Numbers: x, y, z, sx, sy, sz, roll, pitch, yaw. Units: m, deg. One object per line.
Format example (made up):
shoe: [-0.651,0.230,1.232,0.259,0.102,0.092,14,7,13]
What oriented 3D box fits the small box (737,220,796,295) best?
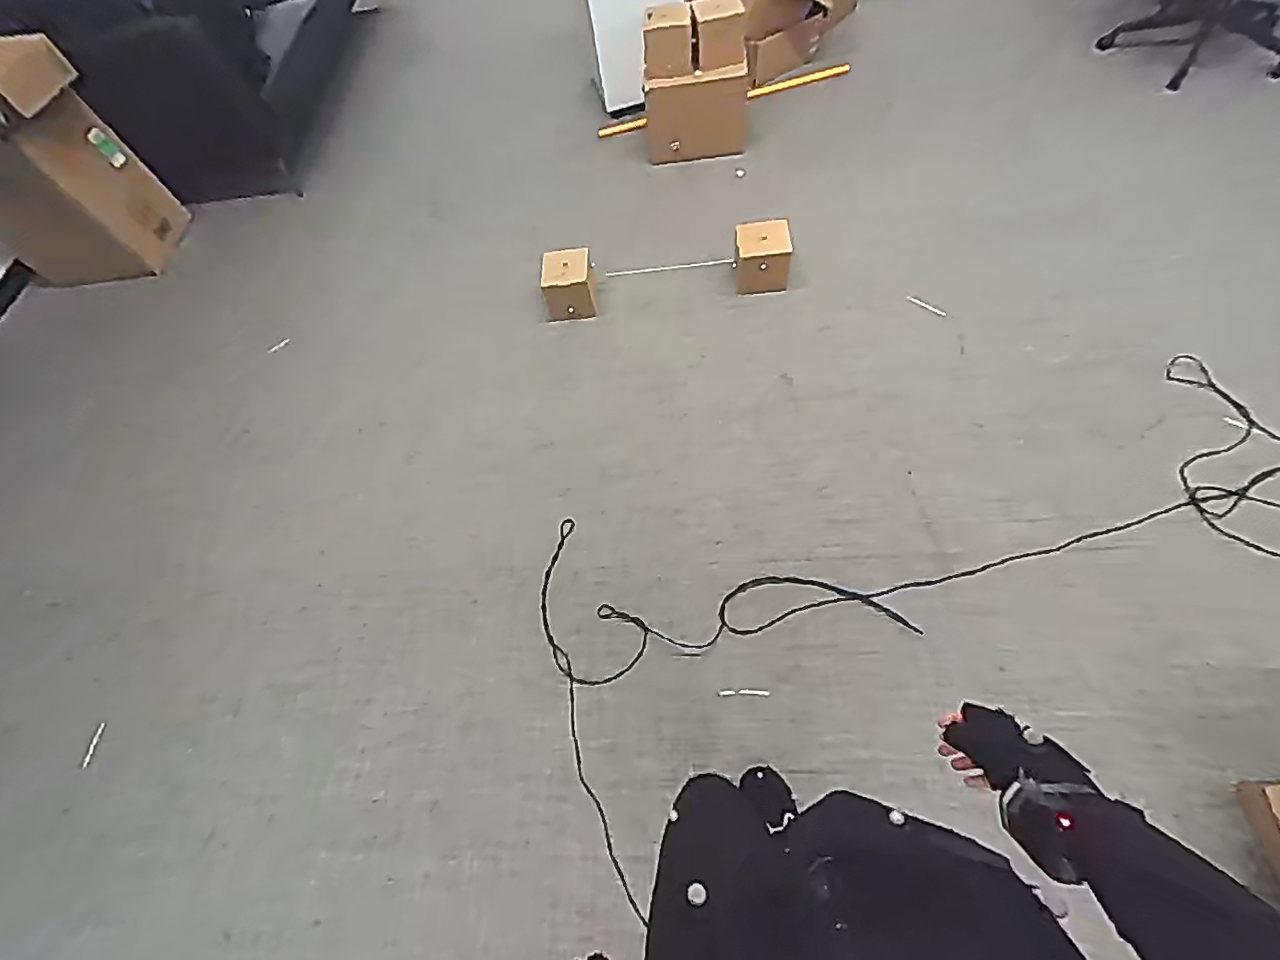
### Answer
small box: [0.436,-0.771,1.885,0.179,0.176,0.168,-5,62,7]

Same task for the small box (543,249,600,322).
small box: [-0.242,-0.701,1.953,0.168,0.176,0.179,-5,62,7]
